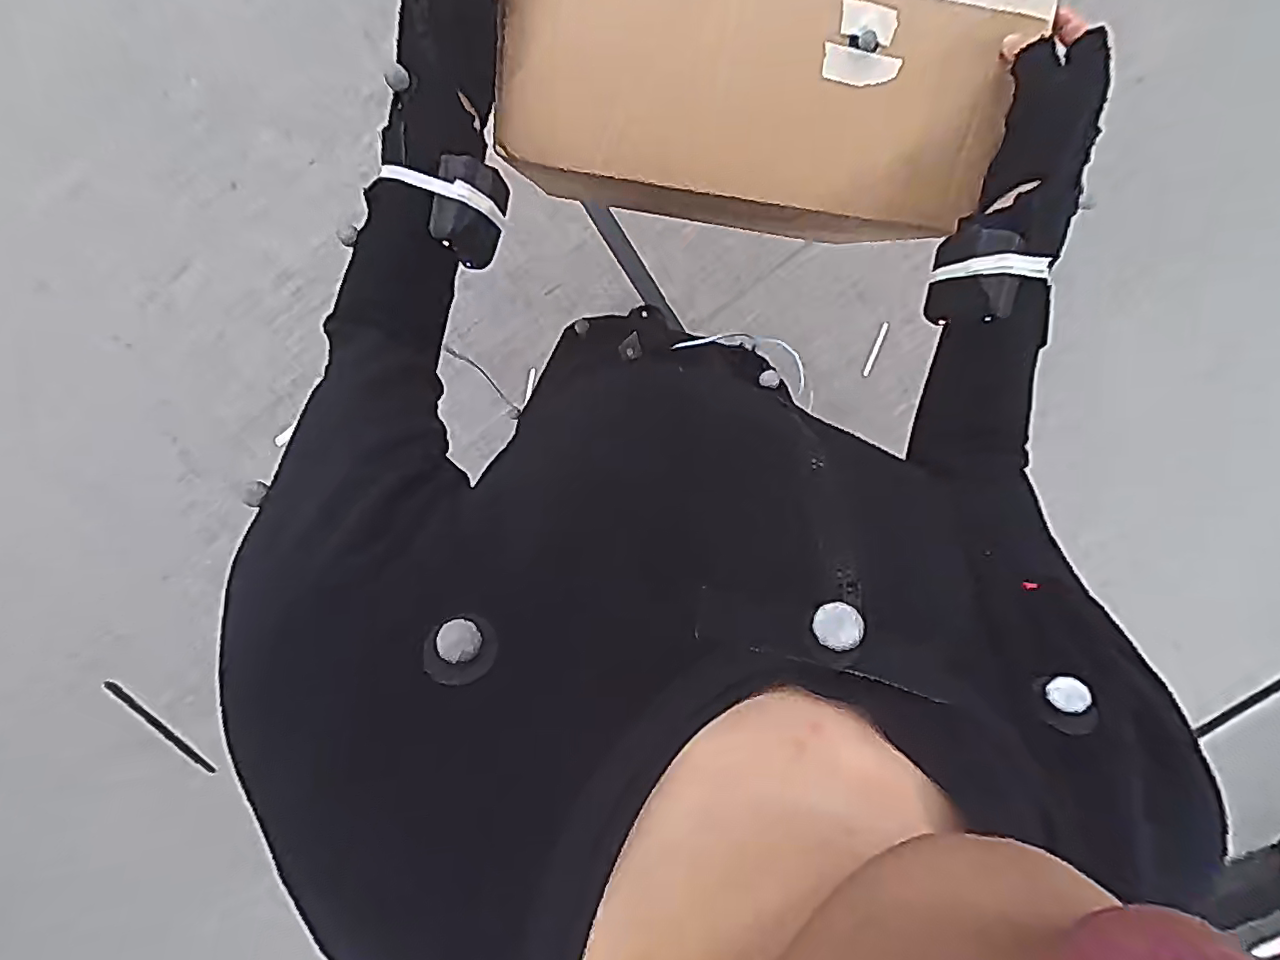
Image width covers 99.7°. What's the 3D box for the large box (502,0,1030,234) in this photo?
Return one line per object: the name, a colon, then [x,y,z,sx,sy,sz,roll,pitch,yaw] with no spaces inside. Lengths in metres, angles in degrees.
large box: [0.094,-0.440,0.535,0.408,0.320,0.320,6,113,-5]
